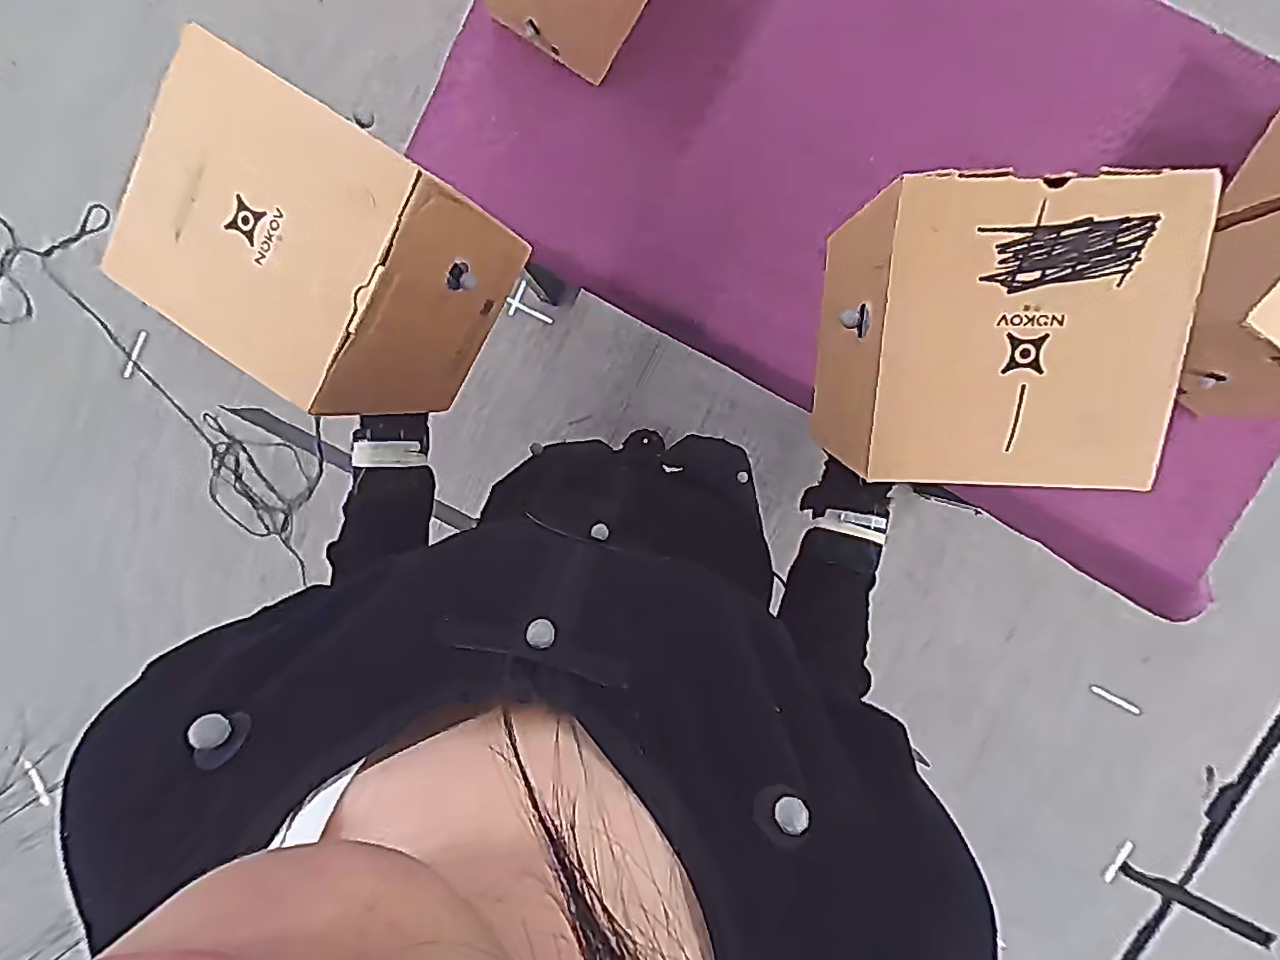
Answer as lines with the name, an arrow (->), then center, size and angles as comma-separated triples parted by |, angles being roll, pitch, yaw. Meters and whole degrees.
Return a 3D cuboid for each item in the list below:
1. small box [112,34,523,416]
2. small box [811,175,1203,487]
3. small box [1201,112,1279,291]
small box -> -0.218, -0.164, 0.409 | 0.179, 0.176, 0.168 | 33, 101, 5
small box -> 0.230, -0.100, 0.395 | 0.168, 0.176, 0.179 | 2, 103, 5
small box -> 0.833, -0.351, 0.626 | 0.168, 0.176, 0.179 | 31, 94, -3
